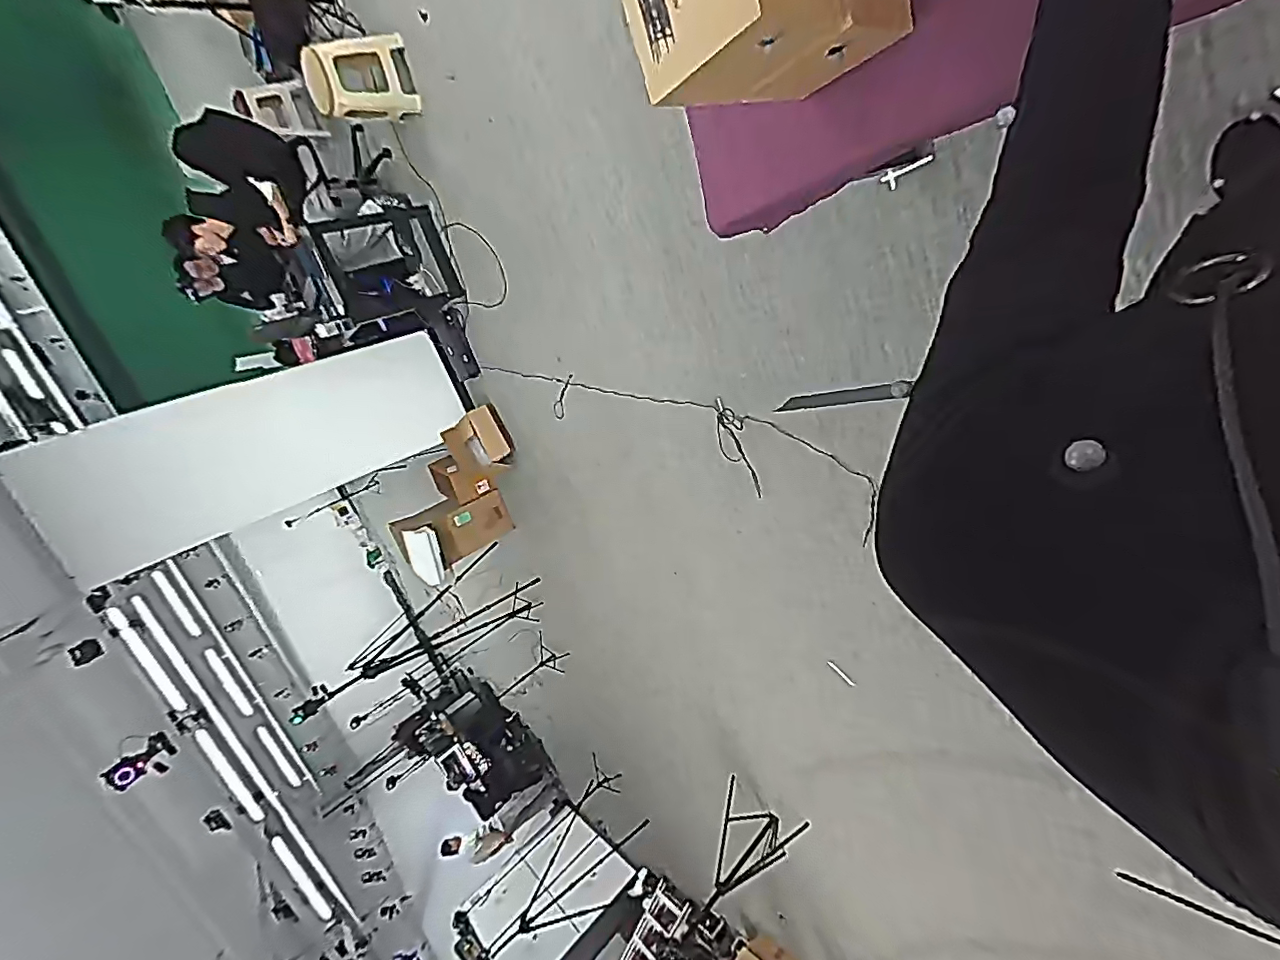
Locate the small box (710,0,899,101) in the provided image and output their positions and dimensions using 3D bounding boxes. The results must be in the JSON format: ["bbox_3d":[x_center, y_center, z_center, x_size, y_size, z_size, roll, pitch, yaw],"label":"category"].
[{"bbox_3d":[0.218,-0.637,0.712,0.179,0.176,0.168,3,118,51],"label":"small box"}]
